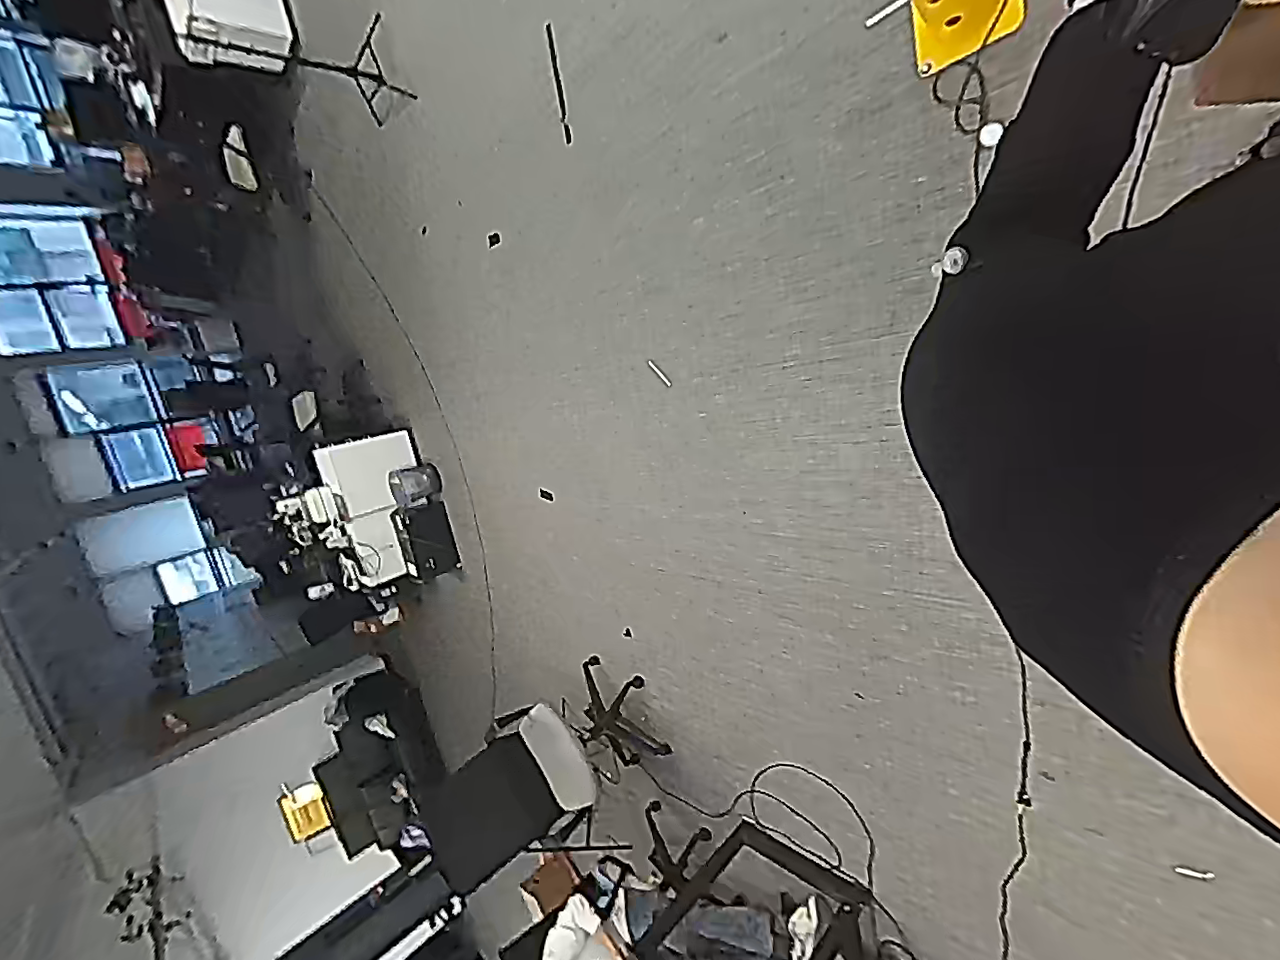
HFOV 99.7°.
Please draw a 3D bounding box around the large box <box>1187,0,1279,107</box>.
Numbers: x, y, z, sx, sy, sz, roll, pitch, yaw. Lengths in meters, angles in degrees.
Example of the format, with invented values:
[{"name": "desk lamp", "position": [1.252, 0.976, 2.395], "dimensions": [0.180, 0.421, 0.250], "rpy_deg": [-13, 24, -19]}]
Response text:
[{"name": "large box", "position": [0.594, -0.413, 0.260], "dimensions": [0.408, 0.320, 0.320], "rpy_deg": [24, 122, 38]}]
